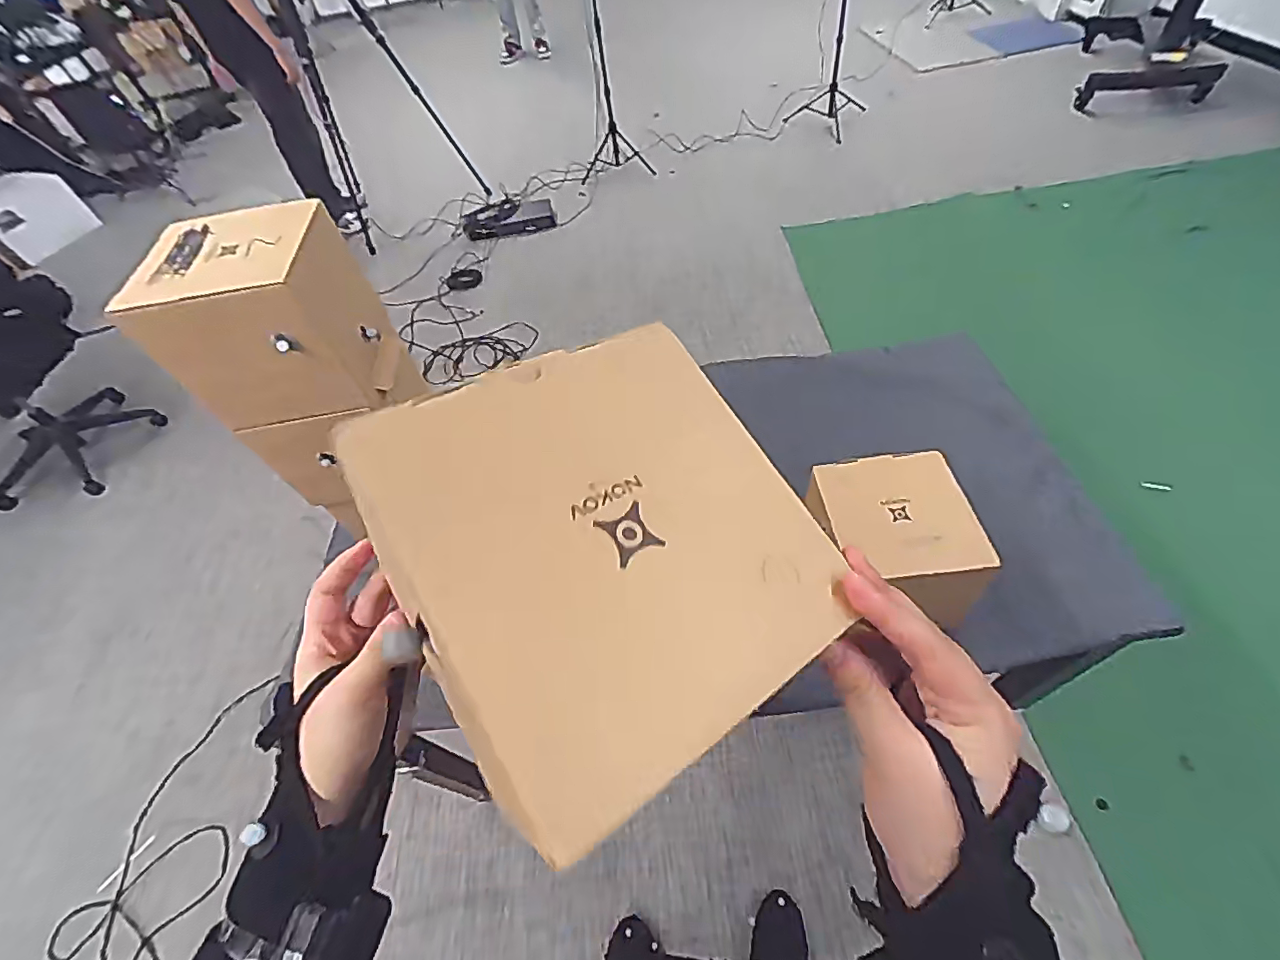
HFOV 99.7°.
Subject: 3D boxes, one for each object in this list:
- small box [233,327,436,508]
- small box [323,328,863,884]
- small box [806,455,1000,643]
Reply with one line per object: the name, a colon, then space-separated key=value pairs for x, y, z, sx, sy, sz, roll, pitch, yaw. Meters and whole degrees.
small box: x=-0.403 y=-0.082 z=0.755 sx=0.179 sy=0.176 sz=0.168 roll=-11 pitch=53 yaw=1
small box: x=-0.031 y=0.058 z=0.292 sx=0.168 sy=0.176 sz=0.179 roll=-29 pitch=76 yaw=-27
small box: x=0.320 y=0.093 z=0.711 sx=0.168 sy=0.176 sz=0.179 roll=-8 pitch=51 yaw=4
